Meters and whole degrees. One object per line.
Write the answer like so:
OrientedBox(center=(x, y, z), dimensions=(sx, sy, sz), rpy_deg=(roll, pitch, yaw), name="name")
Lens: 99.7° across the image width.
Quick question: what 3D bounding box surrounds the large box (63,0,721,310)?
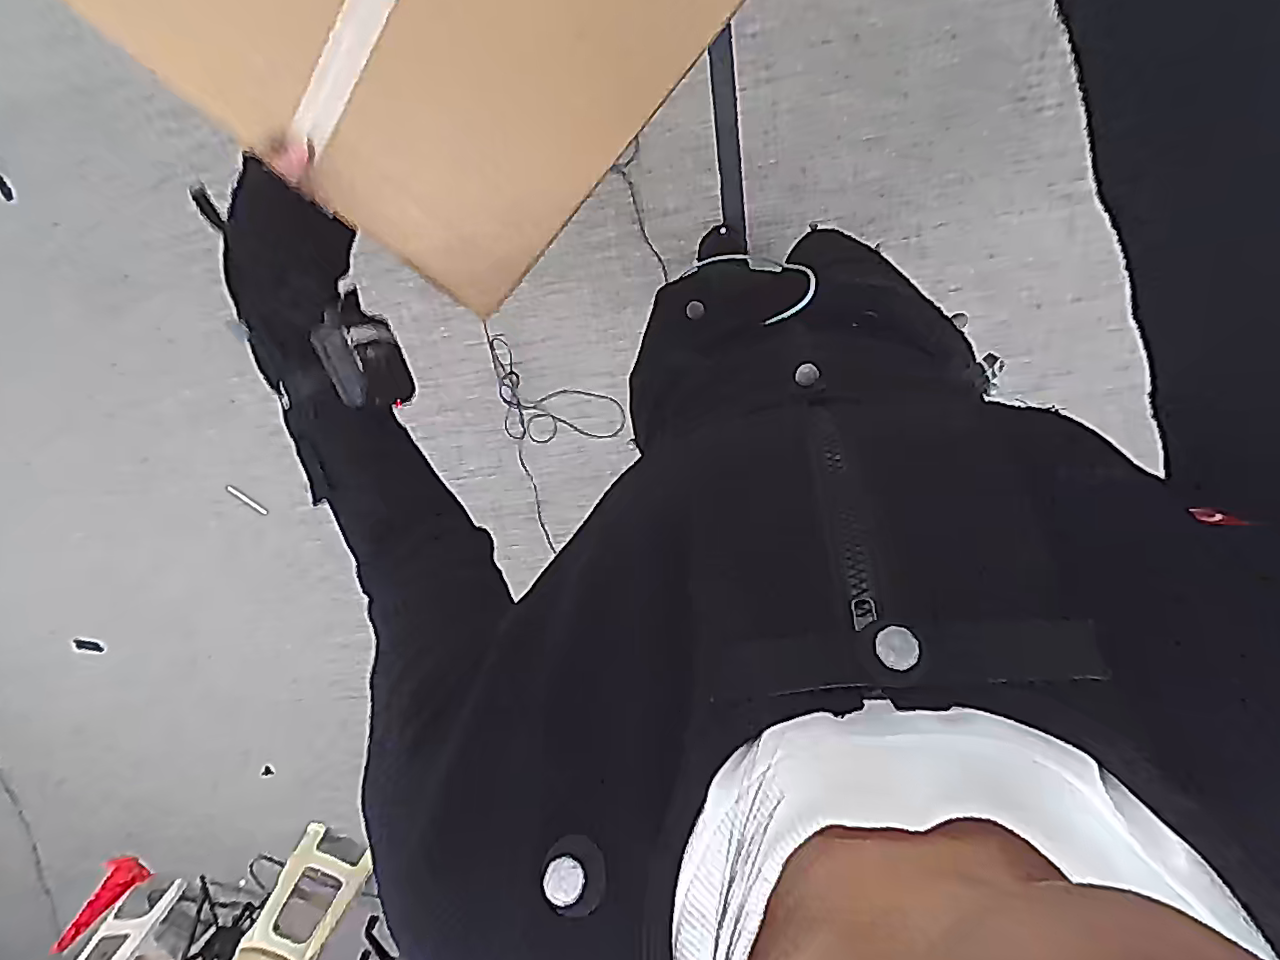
OrientedBox(center=(-0.109, -0.422, 0.402), dimensions=(0.320, 0.320, 0.408), rpy_deg=(33, 122, -25), name="large box")
